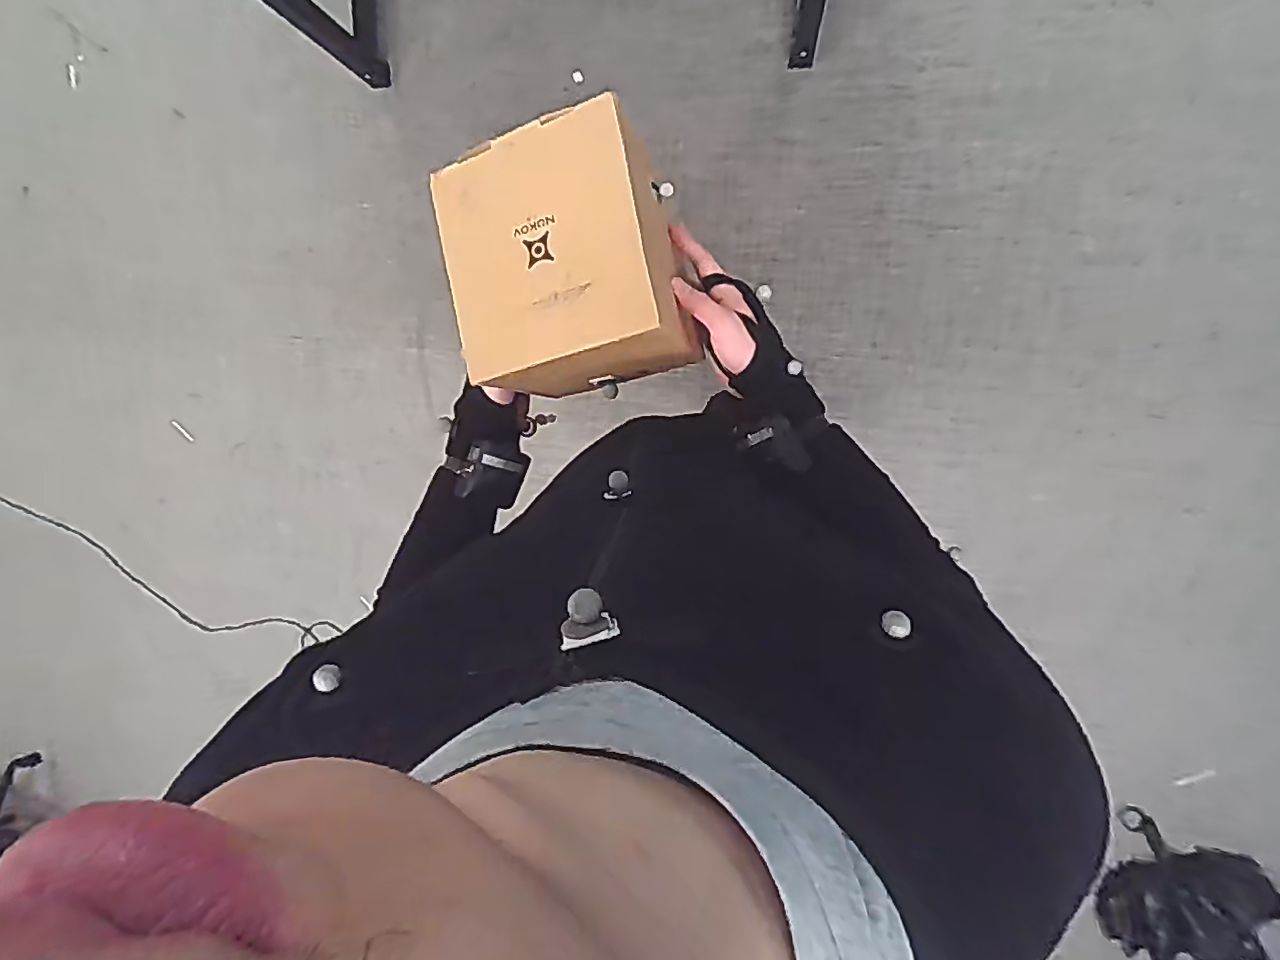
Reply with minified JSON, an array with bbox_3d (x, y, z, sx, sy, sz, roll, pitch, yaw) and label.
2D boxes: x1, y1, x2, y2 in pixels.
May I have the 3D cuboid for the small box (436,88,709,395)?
[{"bbox_3d":[-0.046,-0.184,0.482,0.168,0.176,0.179,-13,90,19],"label":"small box"}]
